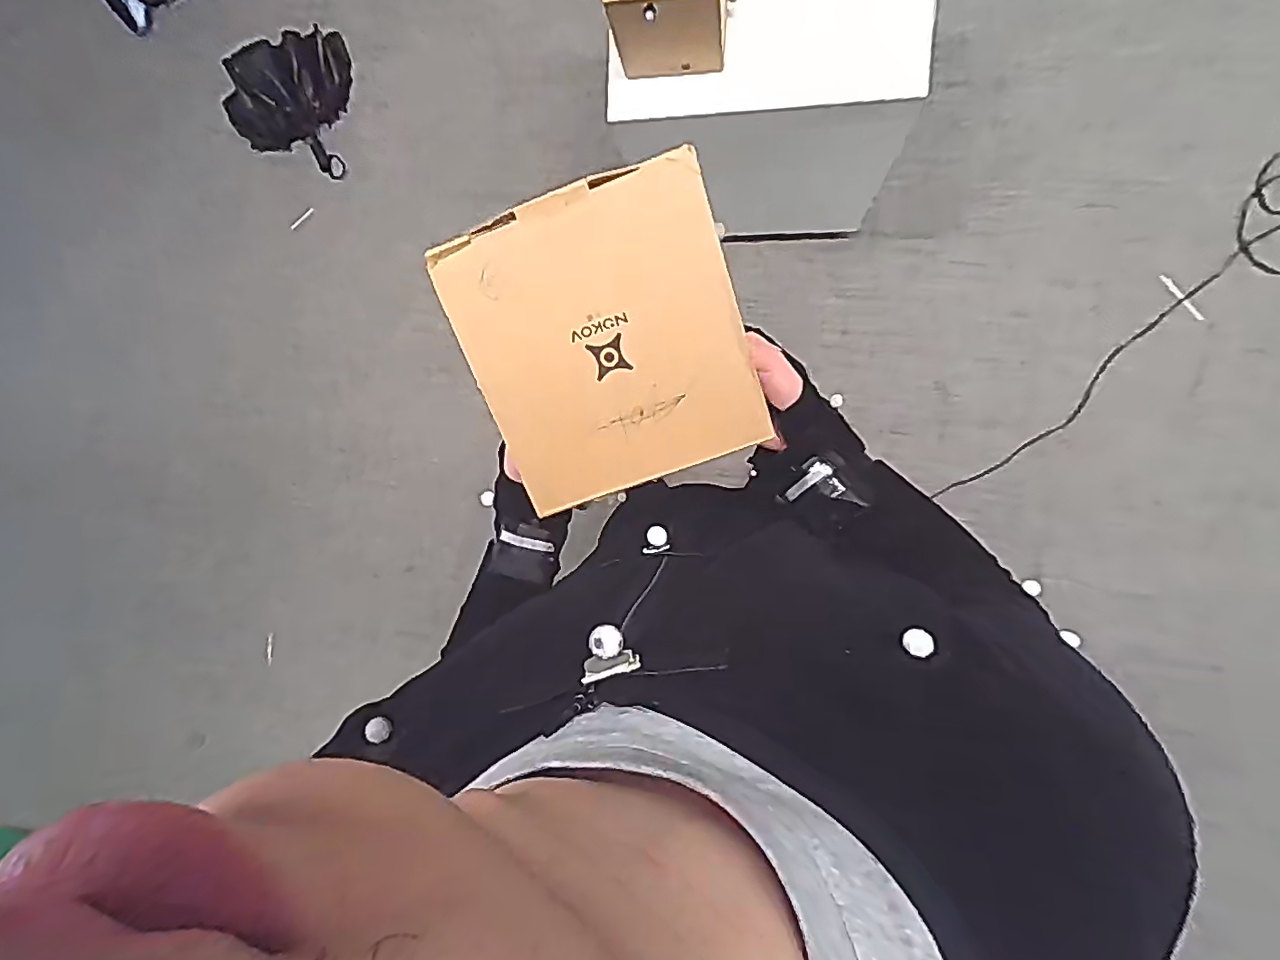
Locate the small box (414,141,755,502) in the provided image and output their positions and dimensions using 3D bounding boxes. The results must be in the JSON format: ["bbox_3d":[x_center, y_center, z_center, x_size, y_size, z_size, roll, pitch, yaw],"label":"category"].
[{"bbox_3d":[-0.028,-0.111,0.402,0.168,0.176,0.179,-17,109,8],"label":"small box"}]

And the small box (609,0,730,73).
[{"bbox_3d":[0.047,-0.753,0.803,0.168,0.176,0.179,4,95,10],"label":"small box"}]
